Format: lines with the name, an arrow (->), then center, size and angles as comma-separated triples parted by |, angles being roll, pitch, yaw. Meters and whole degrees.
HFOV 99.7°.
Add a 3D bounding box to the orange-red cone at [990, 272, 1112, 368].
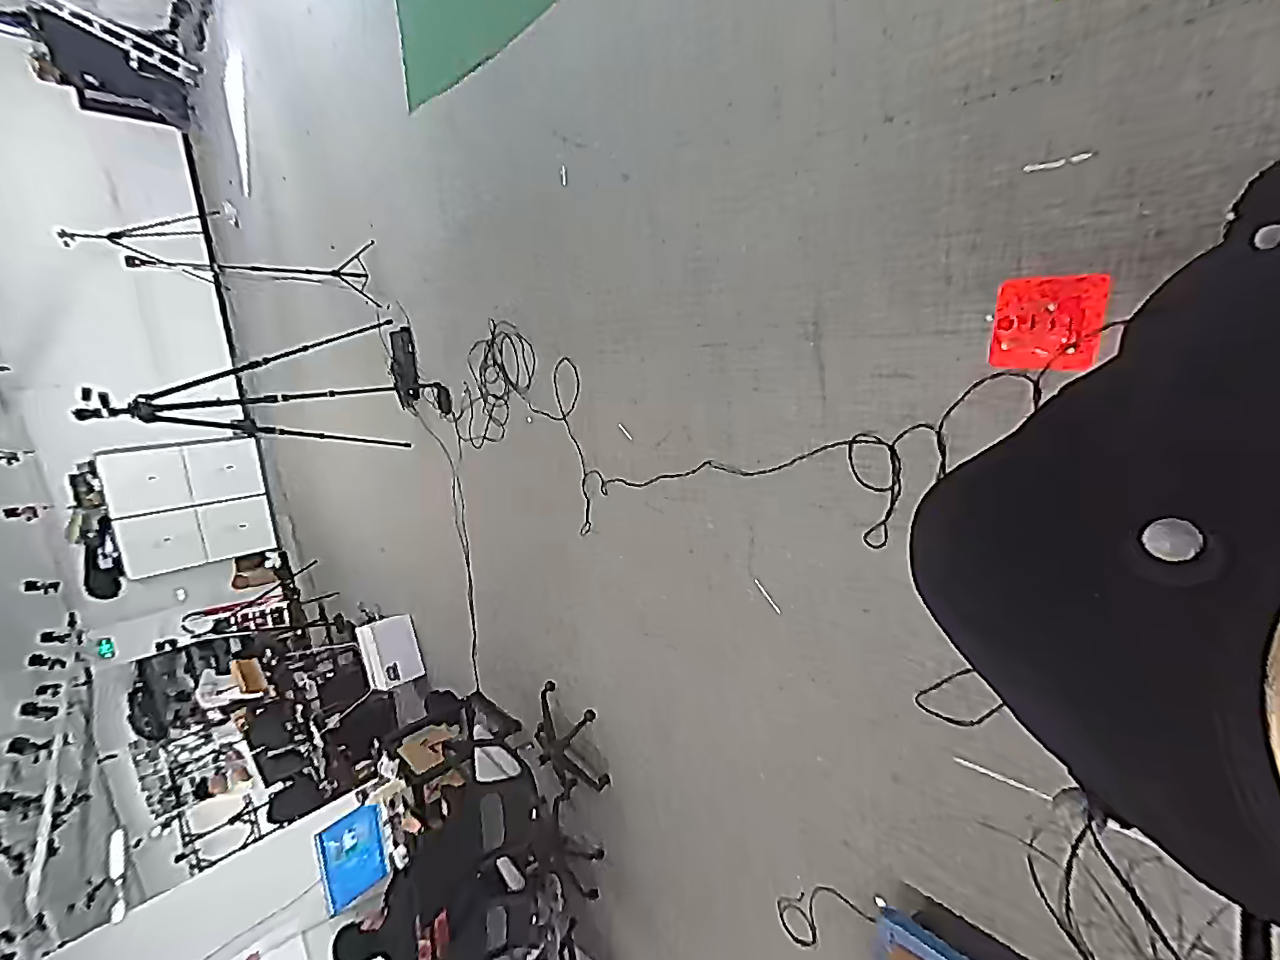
orange-red cone -> 0.783, -0.324, 1.083 | 0.198, 0.360, 0.199 | 16, 111, 42
